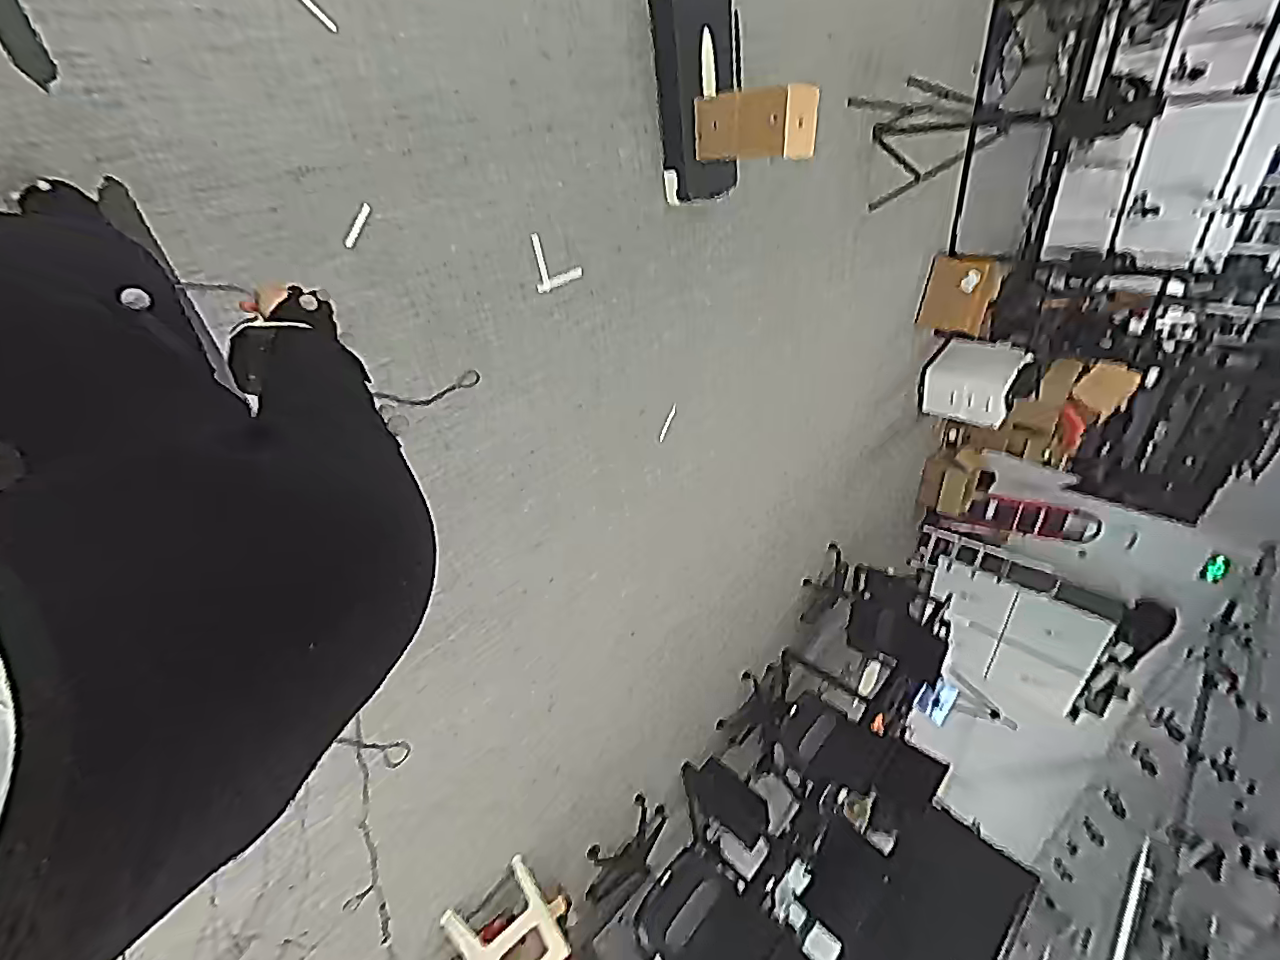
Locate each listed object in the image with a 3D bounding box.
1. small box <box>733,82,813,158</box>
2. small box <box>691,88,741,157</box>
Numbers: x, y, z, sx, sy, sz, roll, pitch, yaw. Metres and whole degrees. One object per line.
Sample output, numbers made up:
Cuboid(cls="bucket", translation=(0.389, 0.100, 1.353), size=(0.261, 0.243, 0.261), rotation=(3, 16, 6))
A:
Cuboid(cls="small box", translation=(0.390, -1.063, 1.610), size=(0.168, 0.176, 0.179), rotation=(-28, 127, -37))
Cuboid(cls="small box", translation=(0.273, -1.125, 1.705), size=(0.179, 0.176, 0.168), rotation=(-31, 131, -35))
